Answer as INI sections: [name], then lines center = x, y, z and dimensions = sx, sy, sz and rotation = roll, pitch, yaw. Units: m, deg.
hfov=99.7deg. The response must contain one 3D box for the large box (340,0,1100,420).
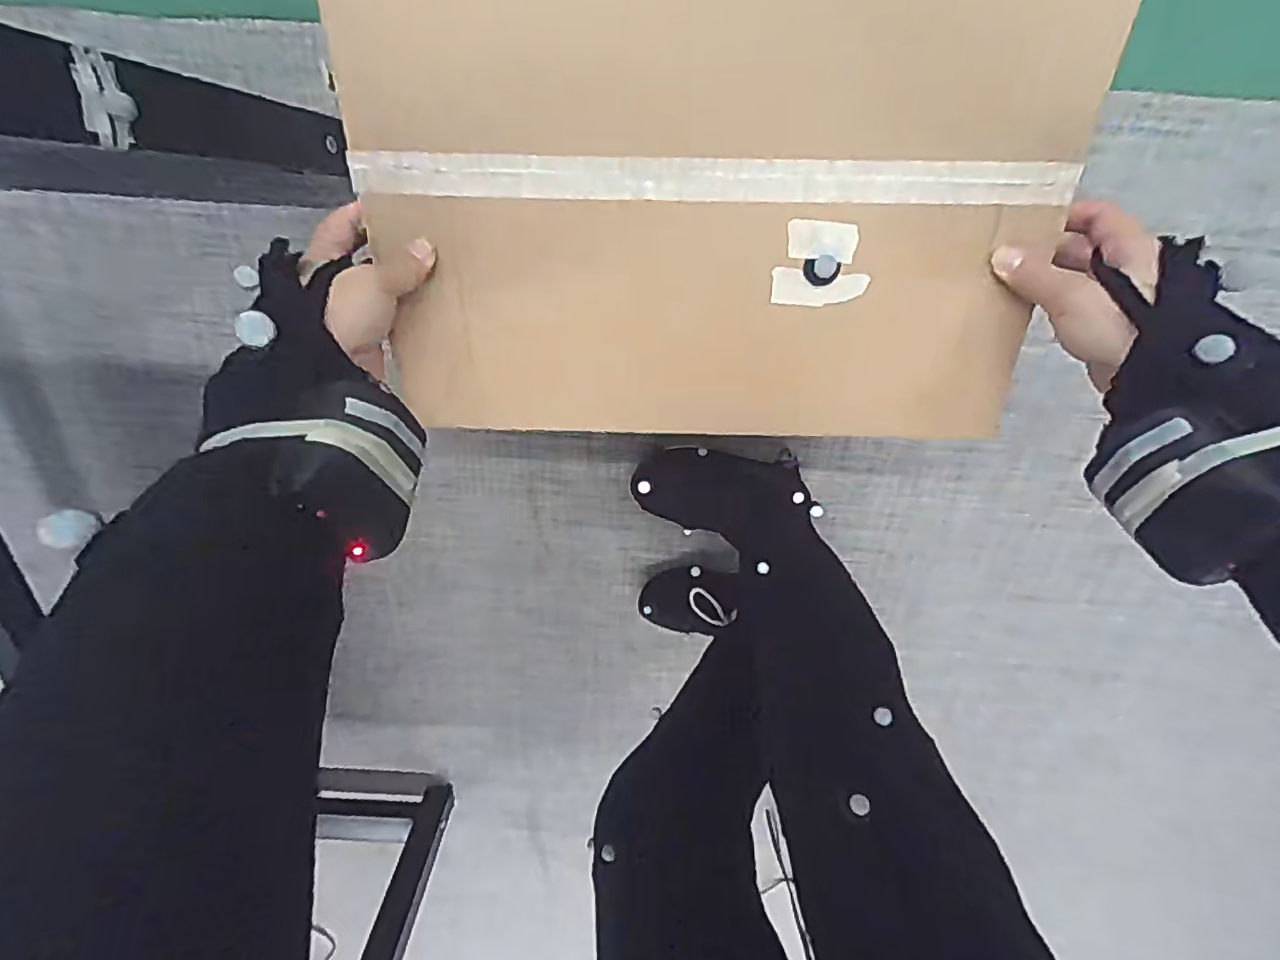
[large box]
center = 0.040, -0.250, 0.451
dimensions = 0.408, 0.320, 0.320
rotation = 0, 119, -1
